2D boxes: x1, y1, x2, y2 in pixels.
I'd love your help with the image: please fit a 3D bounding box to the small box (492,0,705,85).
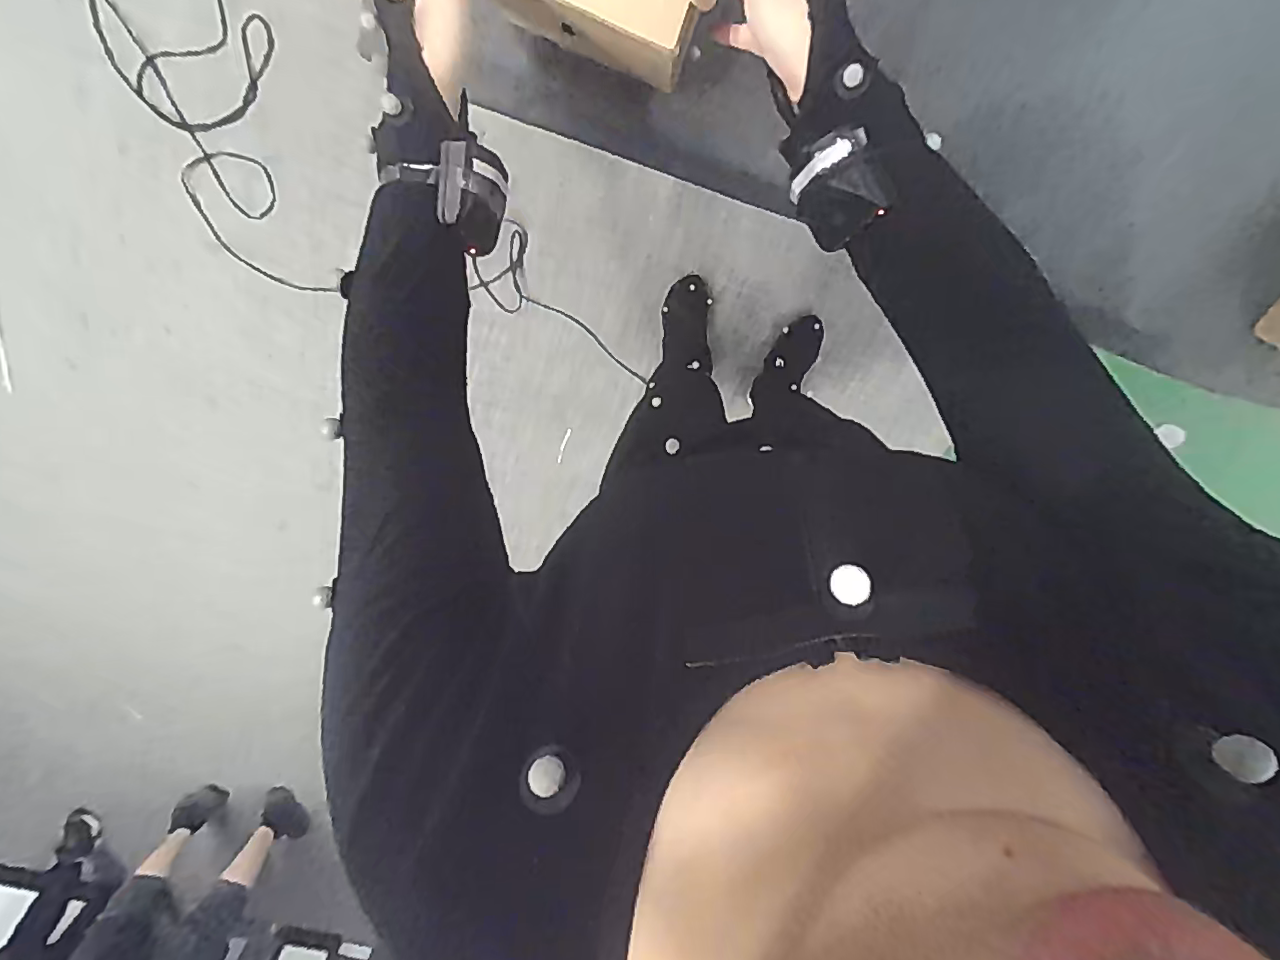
[{"bbox_3d":[-0.022,-0.444,0.426,0.179,0.176,0.168,20,117,-6],"label":"small box"}]
